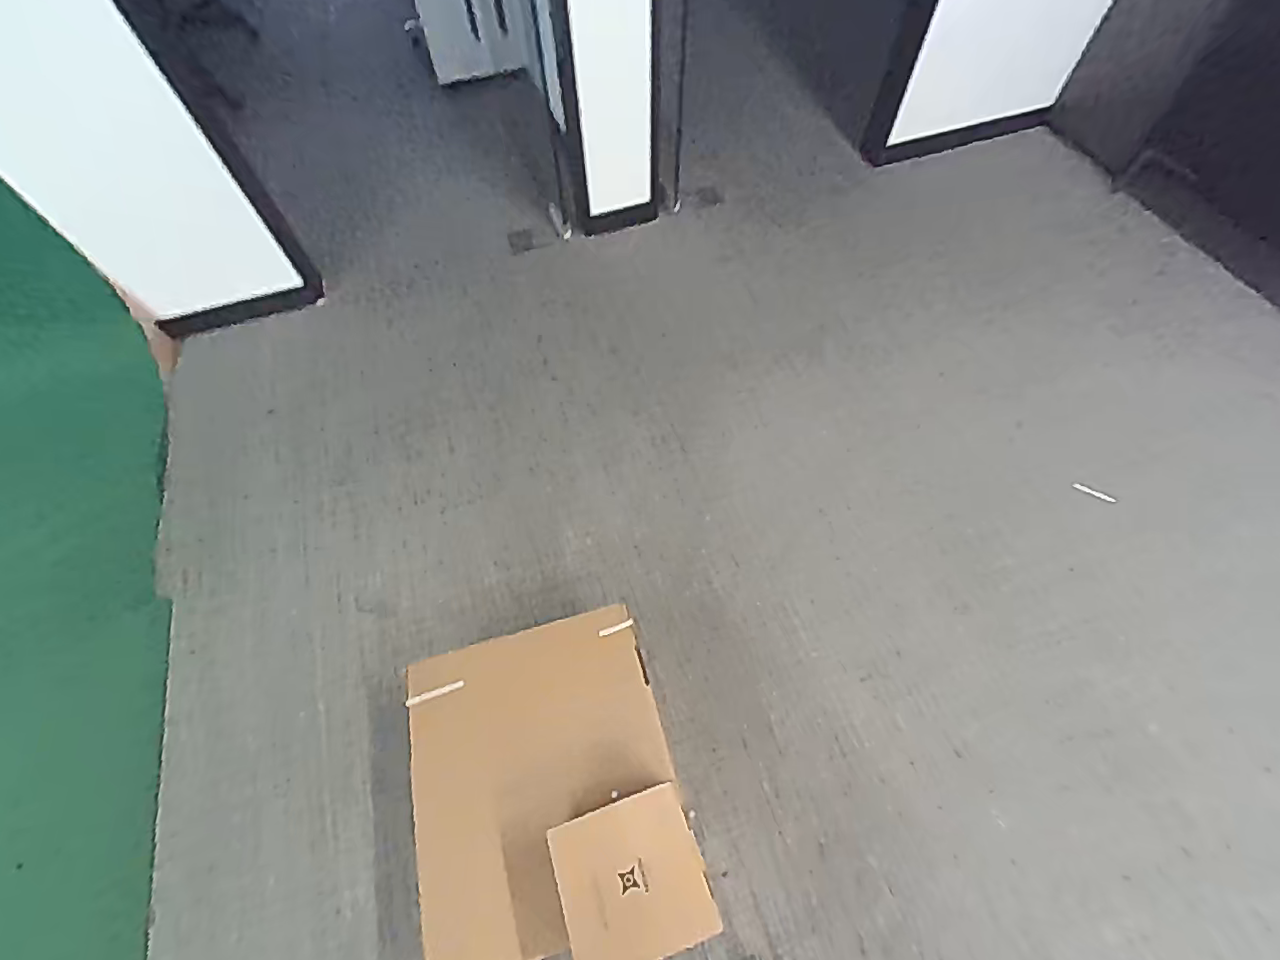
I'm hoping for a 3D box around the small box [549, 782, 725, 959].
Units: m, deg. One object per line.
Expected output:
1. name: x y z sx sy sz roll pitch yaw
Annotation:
1. small box: -0.007 0.521 0.719 0.179 0.176 0.168 -18 60 -9
